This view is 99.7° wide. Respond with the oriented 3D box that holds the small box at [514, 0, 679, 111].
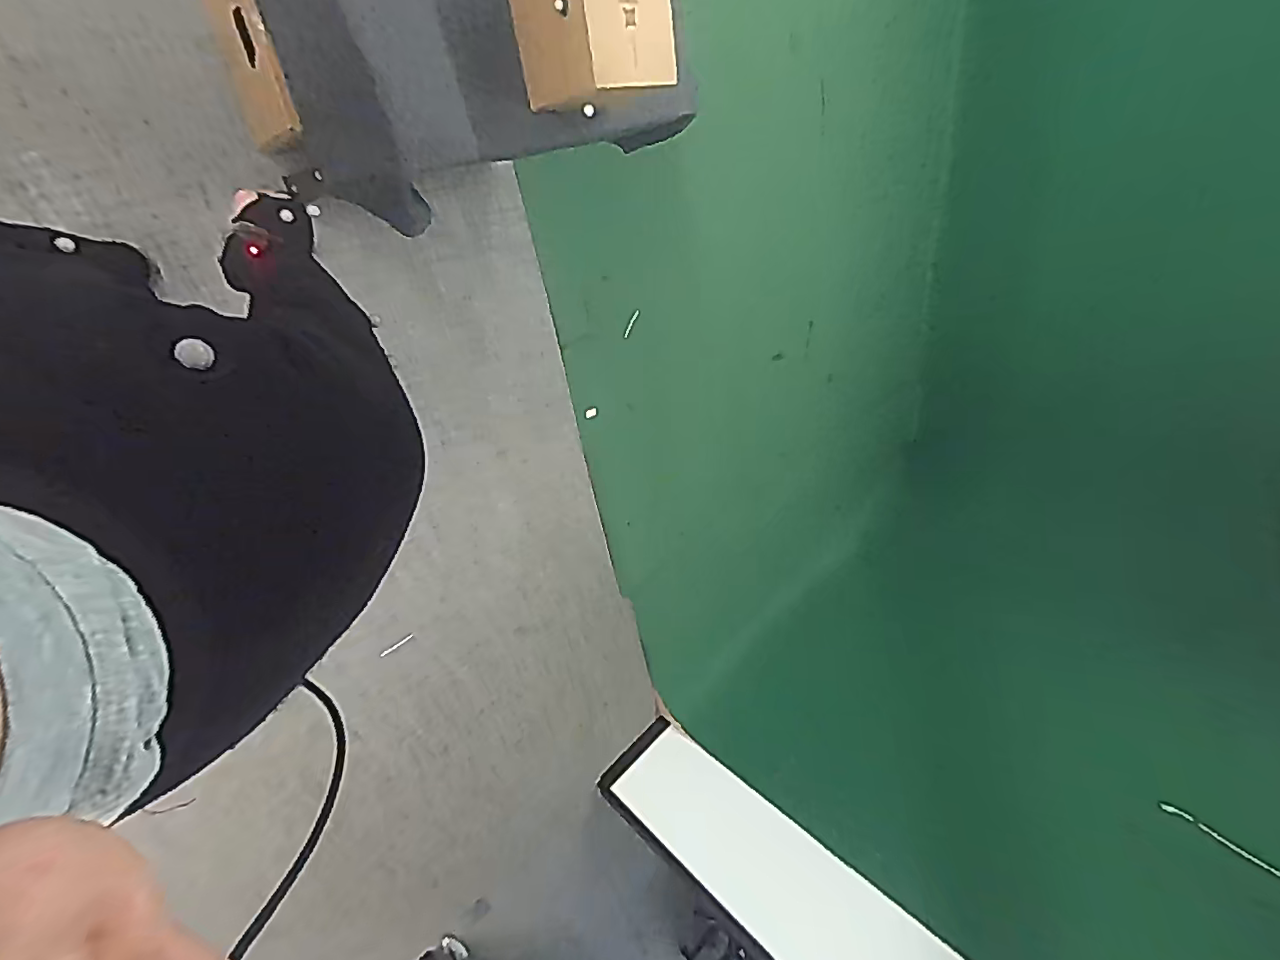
[{"bbox_3d":[-0.066,-0.663,0.791,0.168,0.176,0.179,-31,126,-33],"label":"small box"}]
